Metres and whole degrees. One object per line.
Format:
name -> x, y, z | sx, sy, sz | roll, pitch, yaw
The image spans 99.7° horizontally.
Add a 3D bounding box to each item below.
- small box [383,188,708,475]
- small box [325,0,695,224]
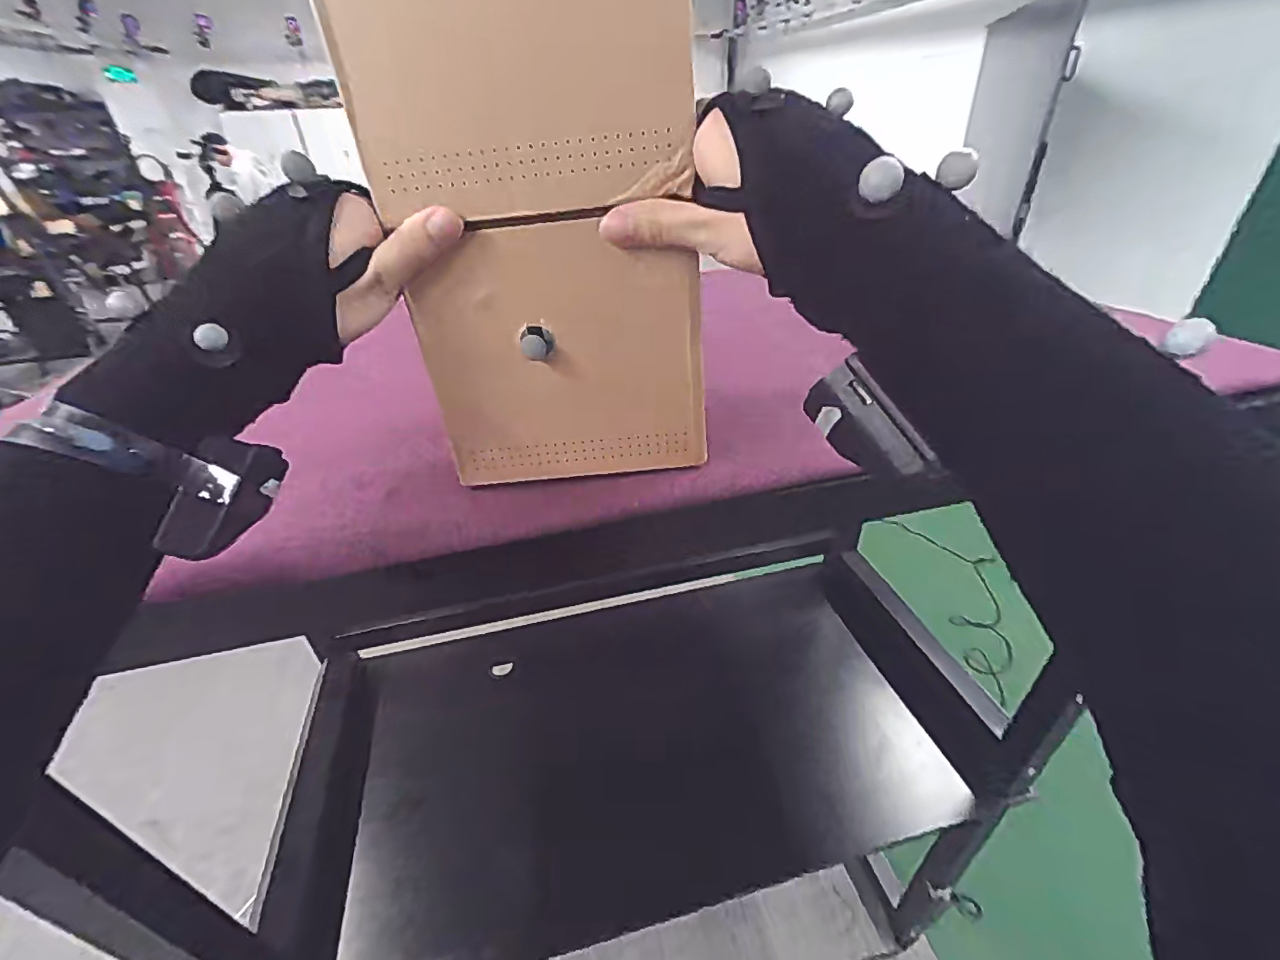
small box -> -0.049, -0.115, 0.403 | 0.179, 0.176, 0.168 | -6, 32, 2
small box -> -0.063, -0.253, 0.315 | 0.179, 0.176, 0.168 | -4, 31, 4
